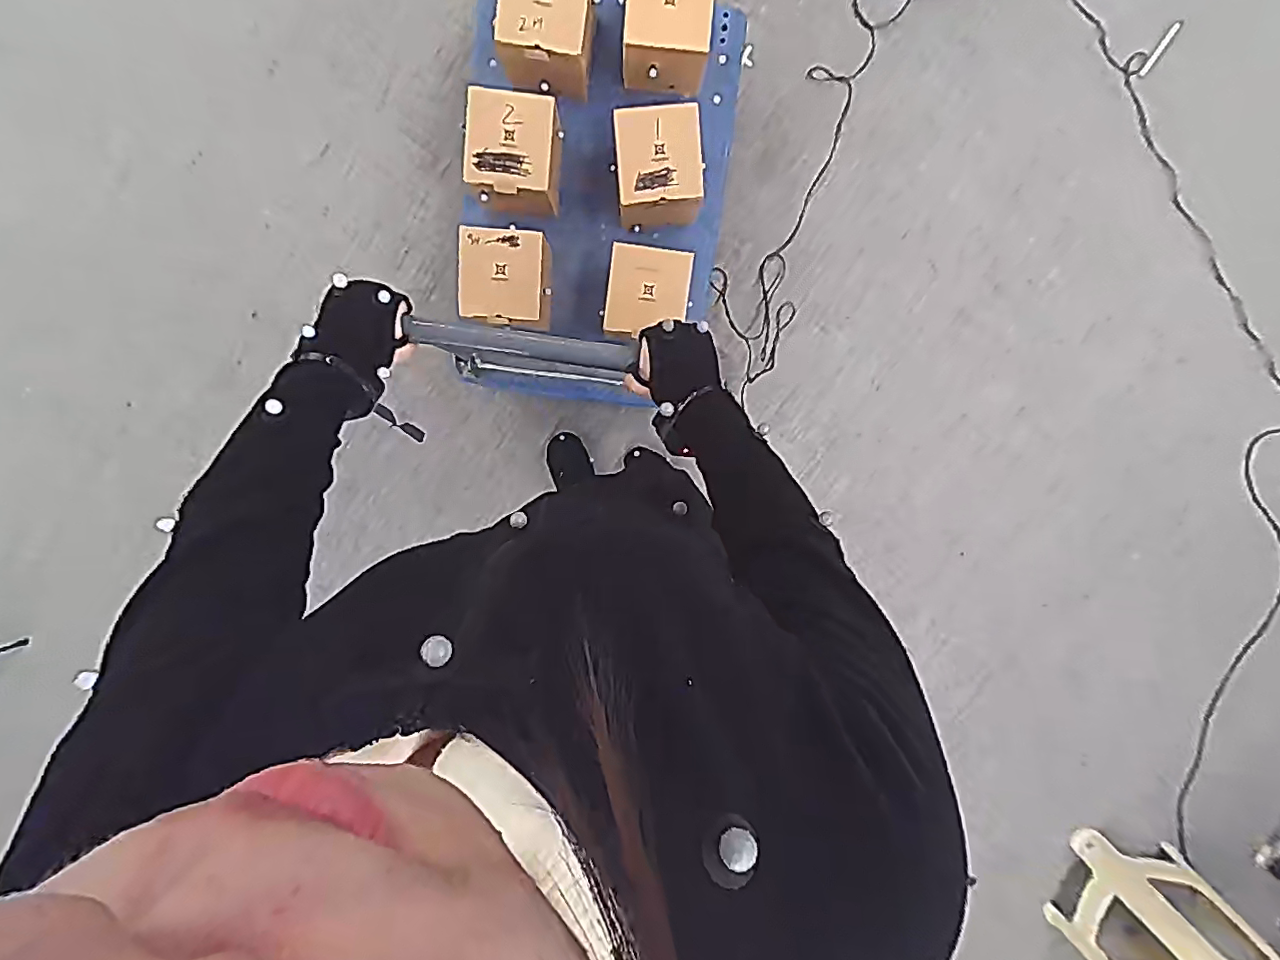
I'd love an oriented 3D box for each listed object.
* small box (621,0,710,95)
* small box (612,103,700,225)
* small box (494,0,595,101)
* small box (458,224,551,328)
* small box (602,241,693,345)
[{"bbox_3d":[0.051,-0.918,1.092,0.168,0.176,0.179,4,99,-2],"label":"small box"},{"bbox_3d":[0.032,-0.649,1.134,0.168,0.176,0.179,-5,98,-1],"label":"small box"},{"bbox_3d":[-0.184,-0.909,1.084,0.168,0.176,0.179,9,100,-3],"label":"small box"},{"bbox_3d":[-0.284,-0.426,1.159,0.168,0.176,0.179,4,100,-4],"label":"small box"},{"bbox_3d":[0.013,-0.395,1.175,0.168,0.176,0.179,8,98,-3],"label":"small box"}]
